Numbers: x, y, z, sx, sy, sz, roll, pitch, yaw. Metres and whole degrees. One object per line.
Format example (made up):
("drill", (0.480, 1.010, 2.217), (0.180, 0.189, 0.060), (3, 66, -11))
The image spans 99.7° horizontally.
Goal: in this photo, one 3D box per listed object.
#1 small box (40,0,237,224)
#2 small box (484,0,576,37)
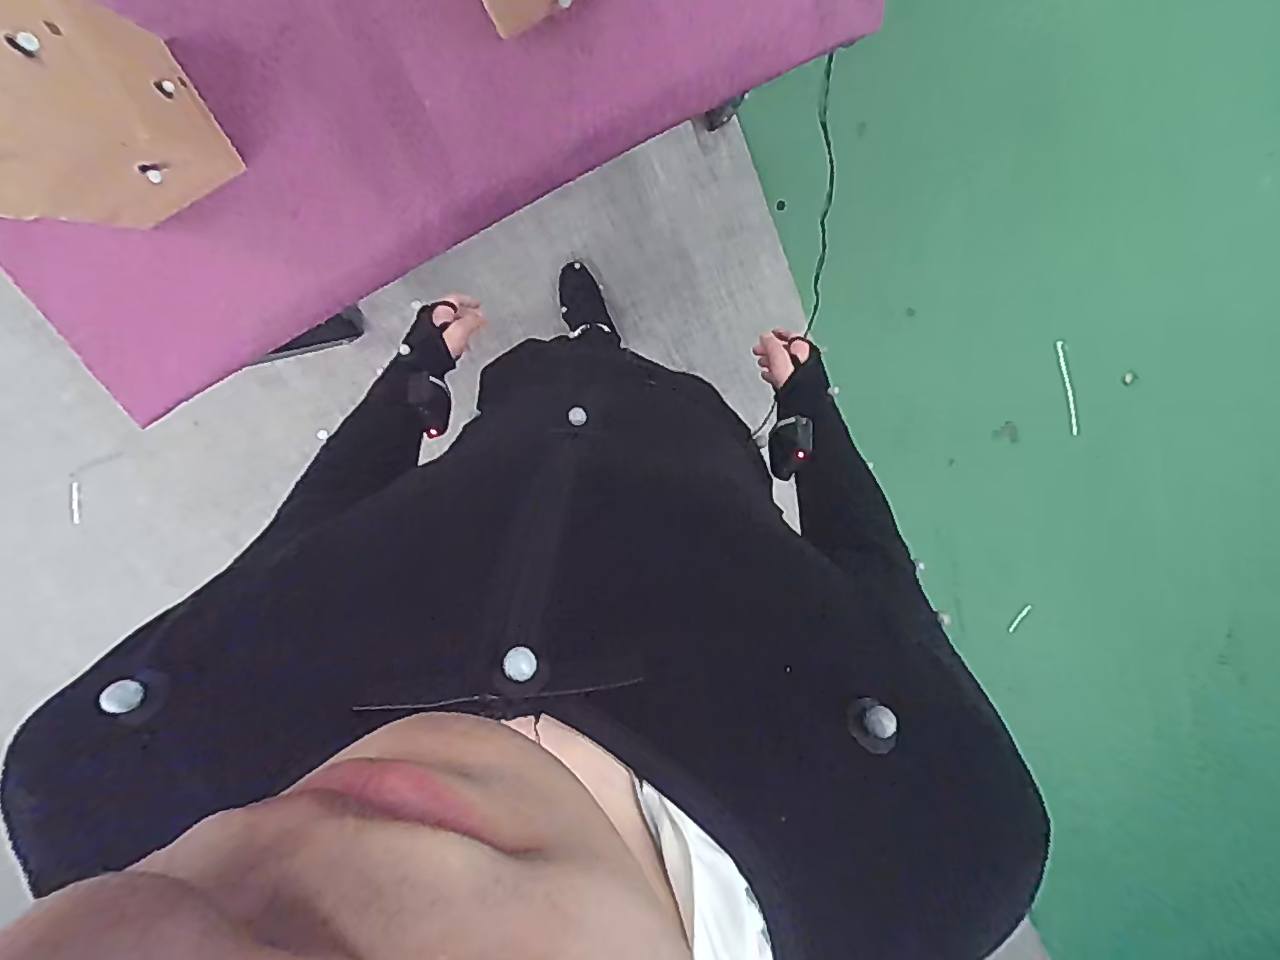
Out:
("small box", (-0.639, -0.433, 0.652), (0.179, 0.176, 0.168), (-25, 109, 7))
("small box", (-0.130, -0.645, 0.590), (0.179, 0.176, 0.168), (-27, 108, 8))
